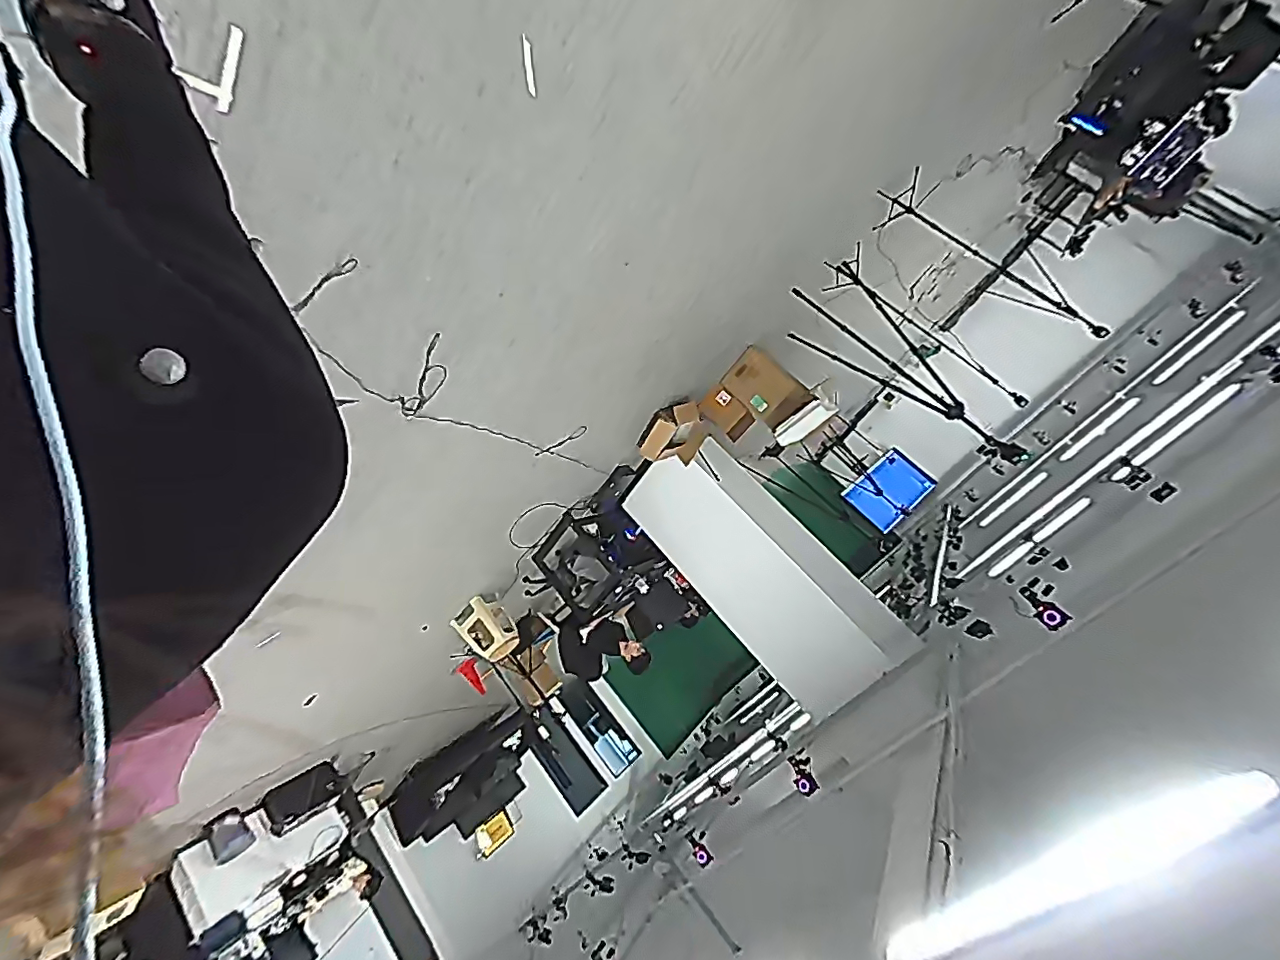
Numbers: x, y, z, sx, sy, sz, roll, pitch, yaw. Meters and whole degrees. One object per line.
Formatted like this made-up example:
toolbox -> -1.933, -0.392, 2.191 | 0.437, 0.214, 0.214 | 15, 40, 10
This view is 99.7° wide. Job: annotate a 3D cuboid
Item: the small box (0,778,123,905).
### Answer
small box -> -1.474, 0.910, 1.376 | 0.168, 0.176, 0.179 | -50, 160, 22
